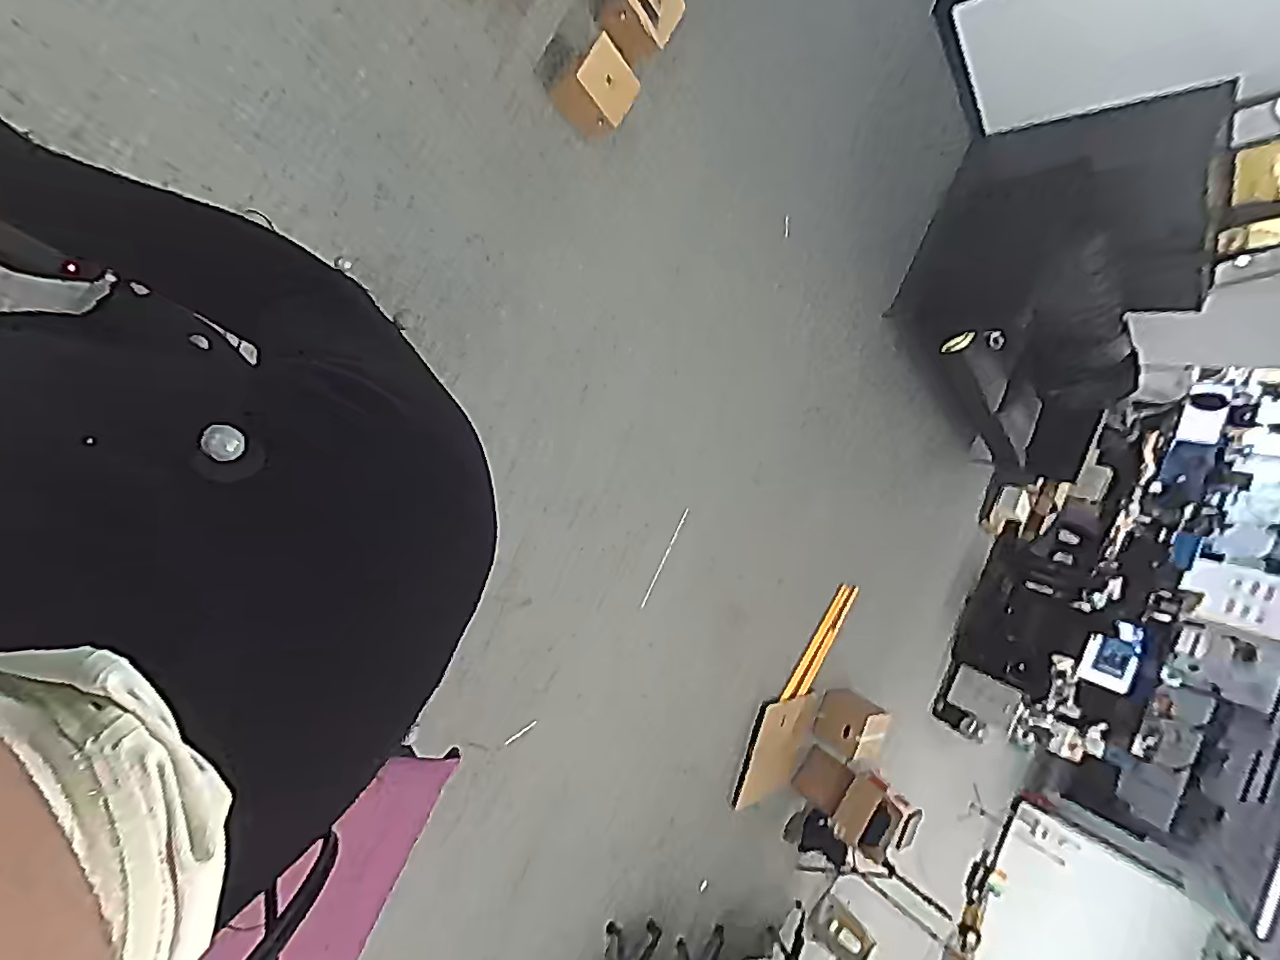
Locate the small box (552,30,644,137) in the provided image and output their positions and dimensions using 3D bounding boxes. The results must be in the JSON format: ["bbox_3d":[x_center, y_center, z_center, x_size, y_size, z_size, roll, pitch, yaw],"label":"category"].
[{"bbox_3d":[-0.130,-1.159,1.600,0.179,0.176,0.168,35,81,-42],"label":"small box"}]
